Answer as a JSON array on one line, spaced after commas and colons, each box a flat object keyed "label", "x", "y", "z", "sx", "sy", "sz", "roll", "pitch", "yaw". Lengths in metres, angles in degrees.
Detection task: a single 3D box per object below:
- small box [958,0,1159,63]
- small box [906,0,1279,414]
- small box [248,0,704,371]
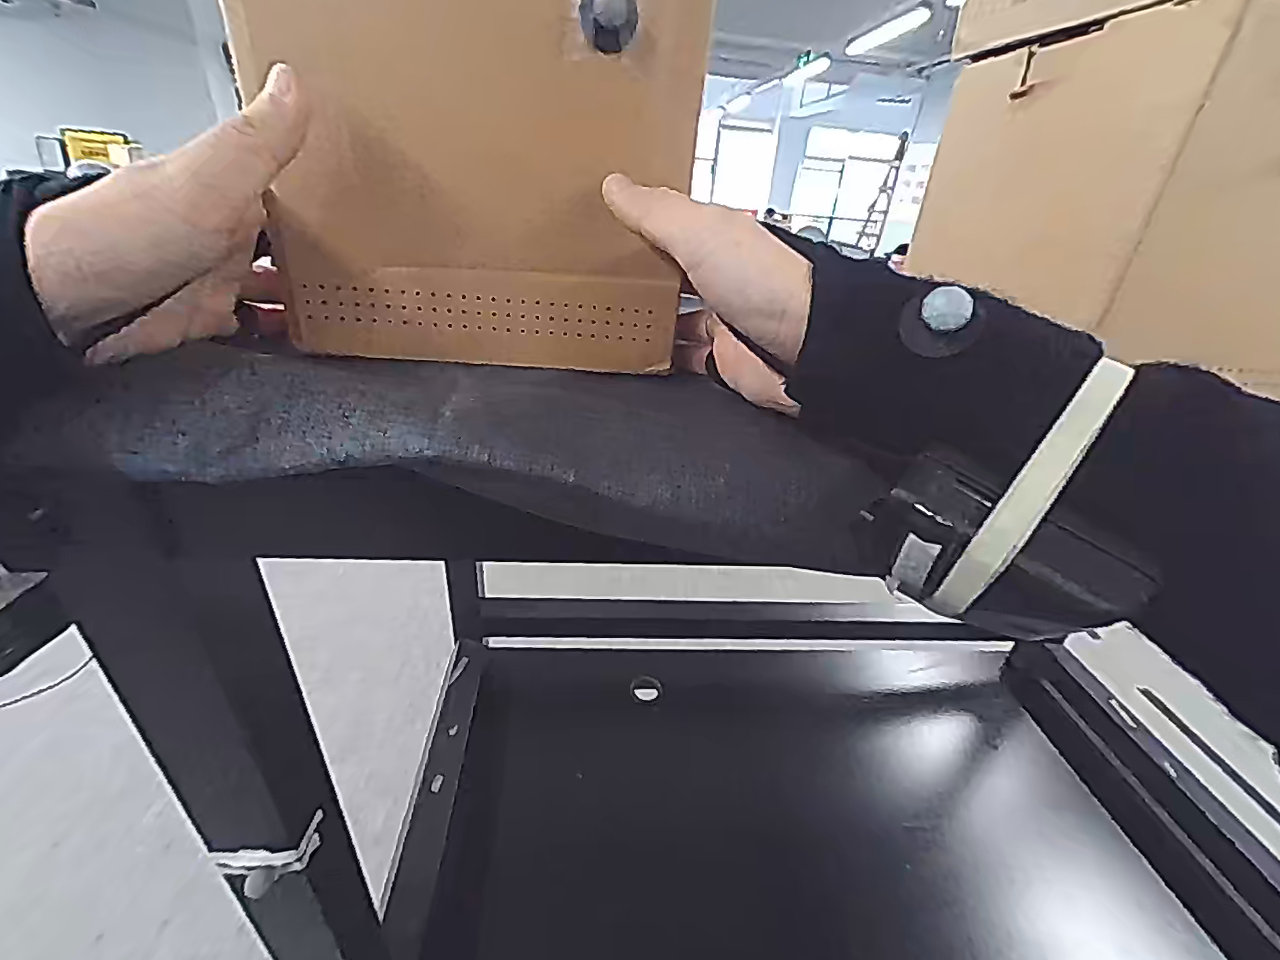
[{"label": "small box", "x": 0.291, "y": -0.291, "z": 0.244, "sx": 0.179, "sy": 0.176, "sz": 0.168, "roll": -3, "pitch": 27, "yaw": -13}, {"label": "small box", "x": 0.282, "y": -0.143, "z": 0.311, "sx": 0.179, "sy": 0.176, "sz": 0.168, "roll": 1, "pitch": 28, "yaw": -9}, {"label": "small box", "x": -0.073, "y": -0.161, "z": 0.288, "sx": 0.179, "sy": 0.176, "sz": 0.168, "roll": 2, "pitch": 27, "yaw": -9}]
